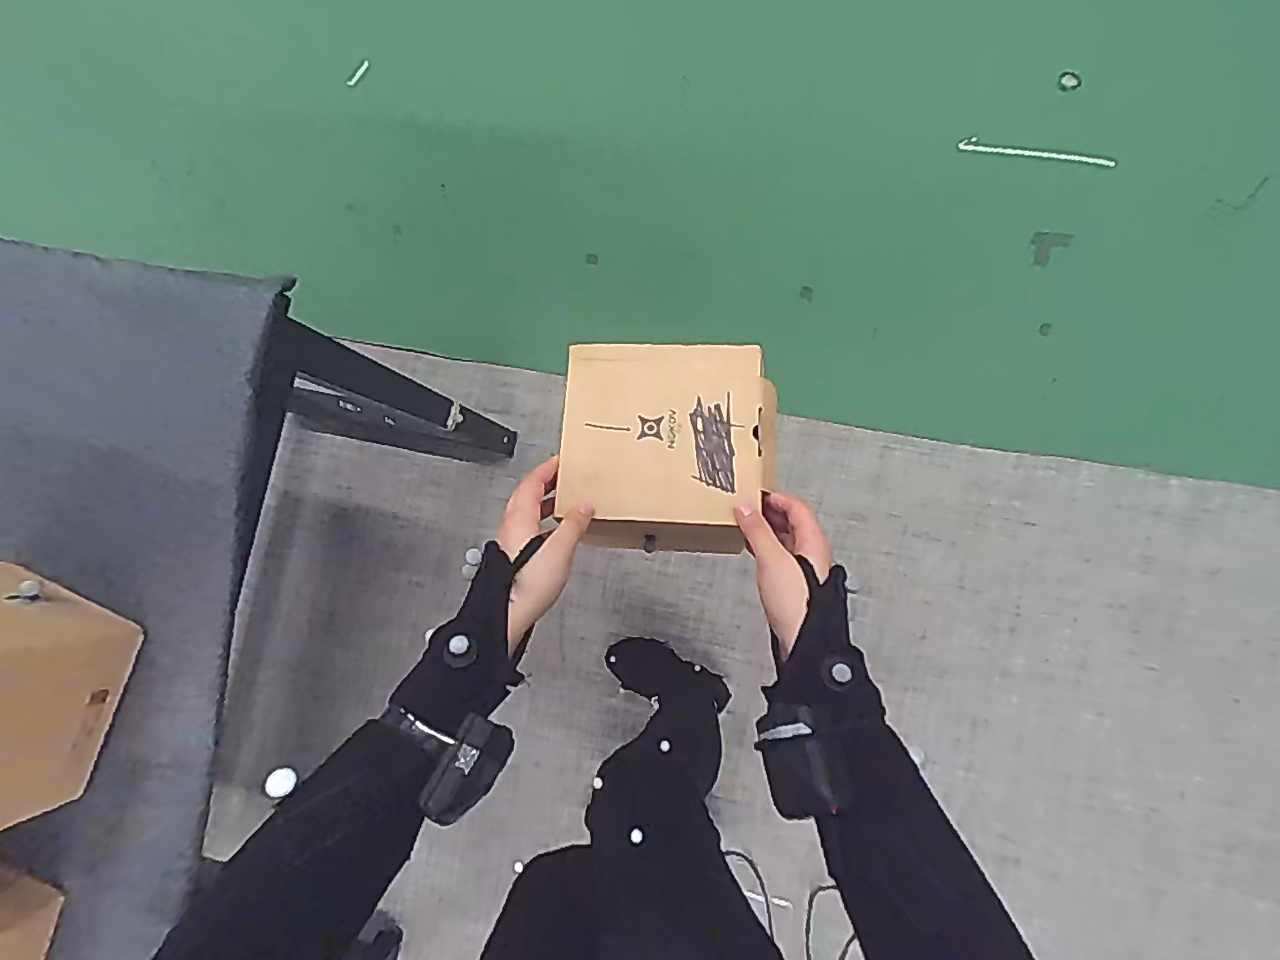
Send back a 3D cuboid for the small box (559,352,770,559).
[{"bbox_3d":[0.030,-0.014,0.545,0.179,0.176,0.168,2,75,6],"label":"small box"}]
